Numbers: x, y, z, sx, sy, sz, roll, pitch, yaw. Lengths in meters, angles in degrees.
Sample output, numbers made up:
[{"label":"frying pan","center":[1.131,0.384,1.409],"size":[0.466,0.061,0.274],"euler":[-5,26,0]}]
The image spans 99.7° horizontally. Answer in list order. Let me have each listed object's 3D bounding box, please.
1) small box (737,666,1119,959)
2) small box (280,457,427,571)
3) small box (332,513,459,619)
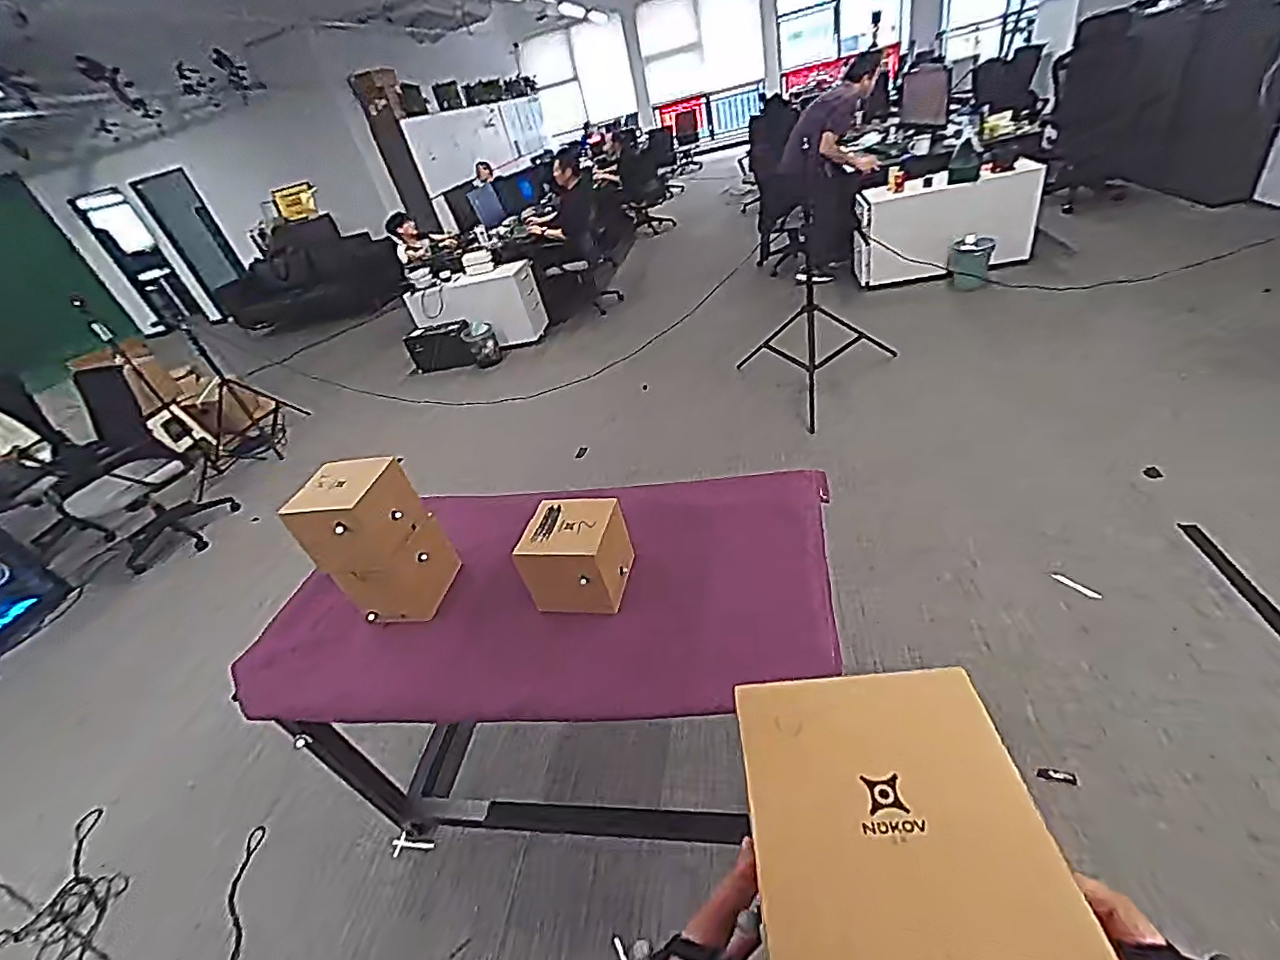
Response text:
[{"label":"small box","center":[0.161,0.257,0.372],"size":[0.168,0.176,0.179],"euler":[-8,35,7]},{"label":"small box","center":[-0.577,0.073,1.118],"size":[0.179,0.176,0.168],"euler":[-5,37,14]},{"label":"small box","center":[-0.537,0.197,1.220],"size":[0.168,0.176,0.179],"euler":[-4,36,14]}]
